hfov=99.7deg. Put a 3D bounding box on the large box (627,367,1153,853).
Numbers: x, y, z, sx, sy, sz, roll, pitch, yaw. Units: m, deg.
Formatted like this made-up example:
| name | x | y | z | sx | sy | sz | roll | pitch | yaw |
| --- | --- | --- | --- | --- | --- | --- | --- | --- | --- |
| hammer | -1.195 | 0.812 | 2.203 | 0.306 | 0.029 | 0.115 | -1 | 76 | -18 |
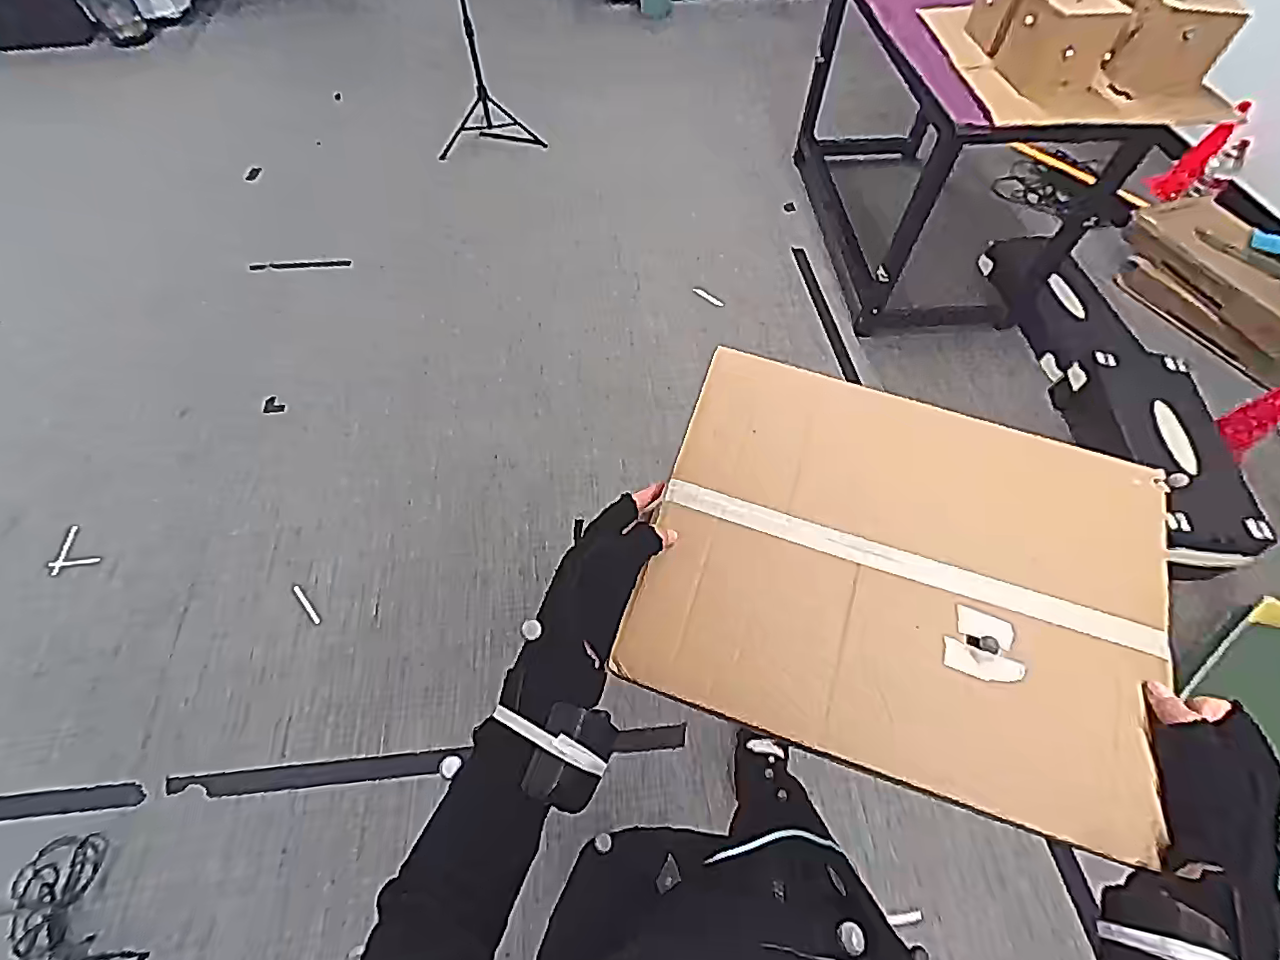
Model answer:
| name | x | y | z | sx | sy | sz | roll | pitch | yaw |
| --- | --- | --- | --- | --- | --- | --- | --- | --- | --- |
| large box | 0.220 | 0.131 | 0.597 | 0.408 | 0.320 | 0.320 | 18 | 70 | 7 |
